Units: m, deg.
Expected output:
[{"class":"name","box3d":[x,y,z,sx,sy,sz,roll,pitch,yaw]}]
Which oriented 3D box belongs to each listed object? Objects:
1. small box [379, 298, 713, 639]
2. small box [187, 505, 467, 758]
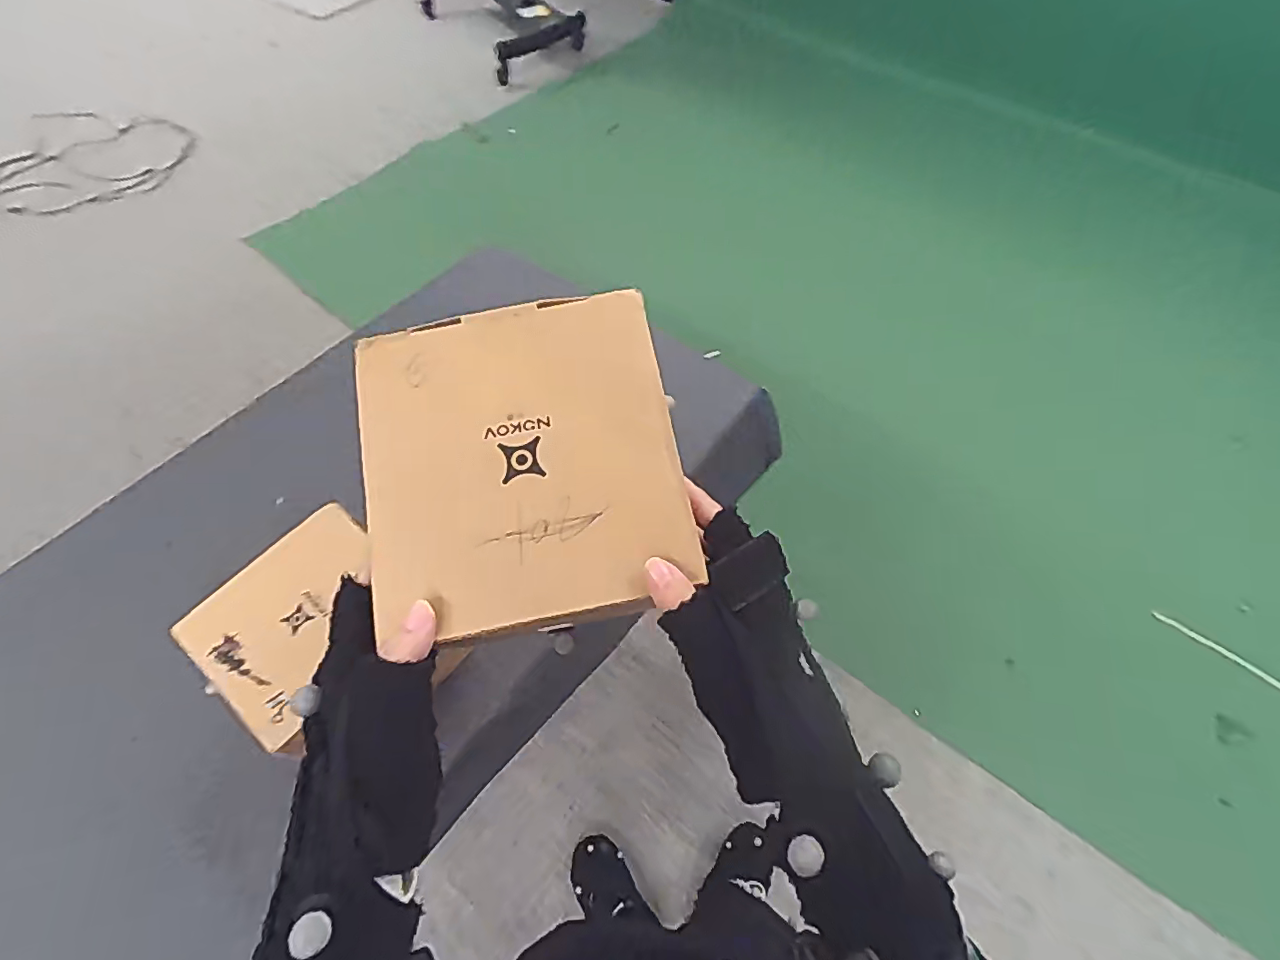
[{"class":"small box","box3d":[-0.057,0.008,0.372,0.168,0.176,0.179,-11,75,-2]},{"class":"small box","box3d":[-0.308,0.166,0.580,0.168,0.176,0.179,35,63,18]}]
